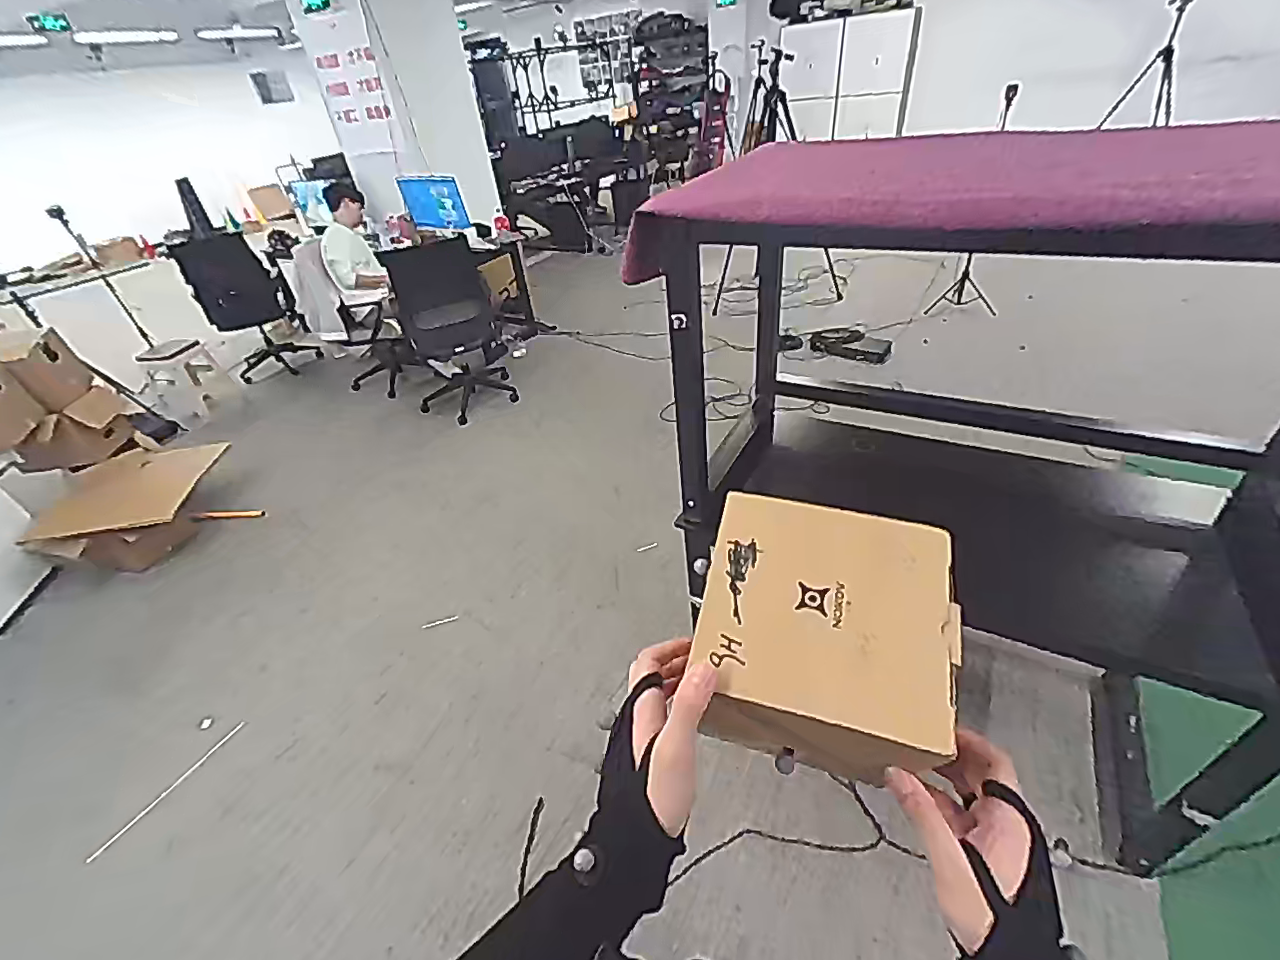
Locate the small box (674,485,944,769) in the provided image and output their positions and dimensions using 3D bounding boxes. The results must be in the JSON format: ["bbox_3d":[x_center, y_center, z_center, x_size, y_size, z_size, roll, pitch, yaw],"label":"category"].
[{"bbox_3d":[0.135,0.131,0.463,0.179,0.176,0.168,11,56,14],"label":"small box"}]
